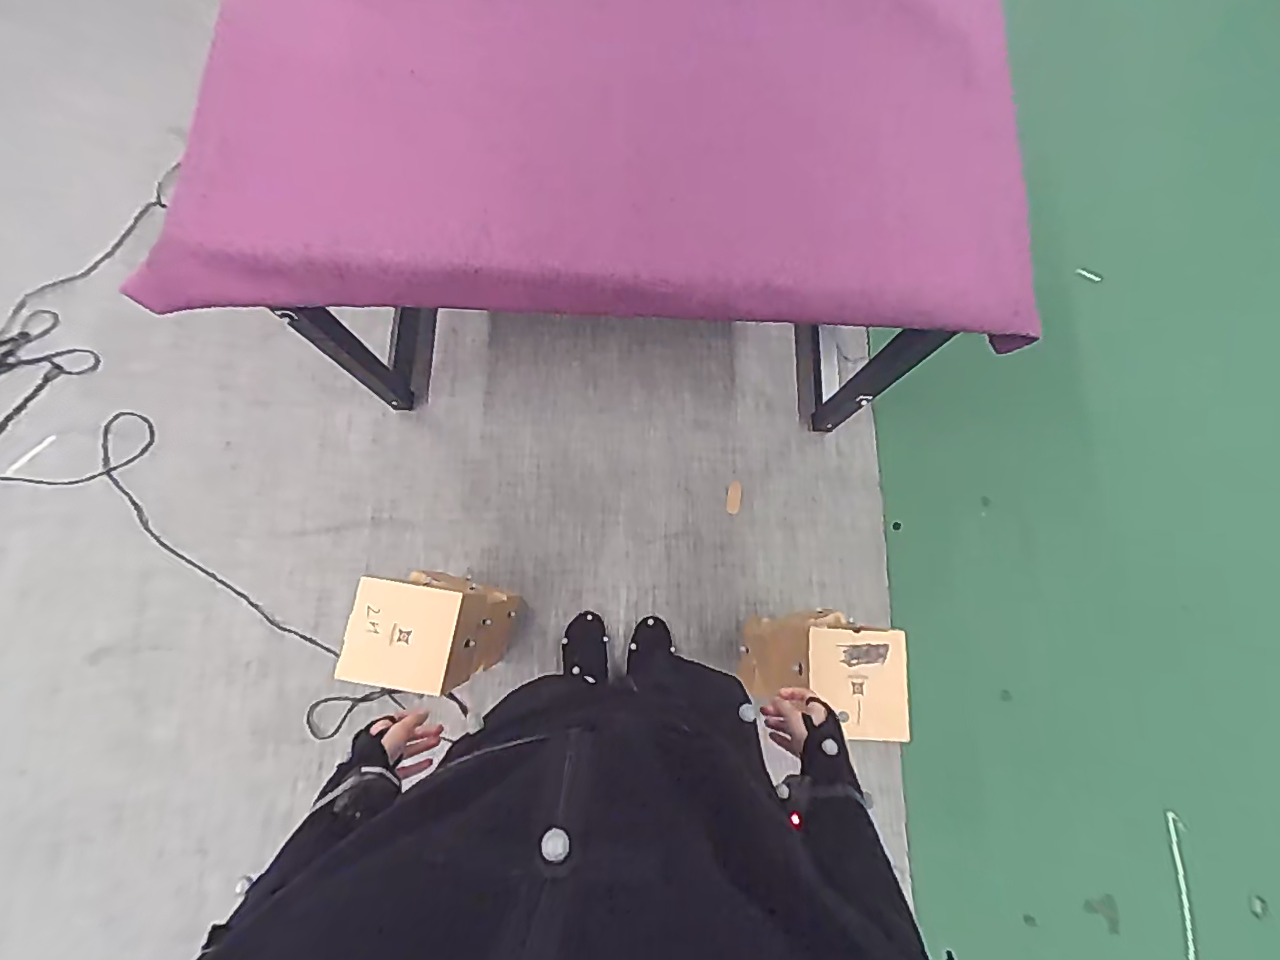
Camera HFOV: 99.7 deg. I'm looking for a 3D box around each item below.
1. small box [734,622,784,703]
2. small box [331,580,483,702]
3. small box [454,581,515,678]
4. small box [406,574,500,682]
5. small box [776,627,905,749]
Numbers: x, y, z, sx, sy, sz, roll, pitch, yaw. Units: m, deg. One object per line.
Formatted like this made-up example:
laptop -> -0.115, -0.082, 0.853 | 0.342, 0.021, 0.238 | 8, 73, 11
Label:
small box -> 0.332, 0.434, 1.279 | 0.179, 0.176, 0.168 | 12, 78, 0
small box -> -0.392, 0.275, 0.947 | 0.179, 0.176, 0.168 | 10, 76, 1
small box -> -0.405, 0.341, 1.267 | 0.168, 0.176, 0.179 | 17, 78, 2
small box -> -0.407, 0.308, 1.108 | 0.168, 0.176, 0.179 | 23, 77, 4
small box -> 0.346, 0.358, 0.959 | 0.168, 0.176, 0.179 | 4, 79, -2
